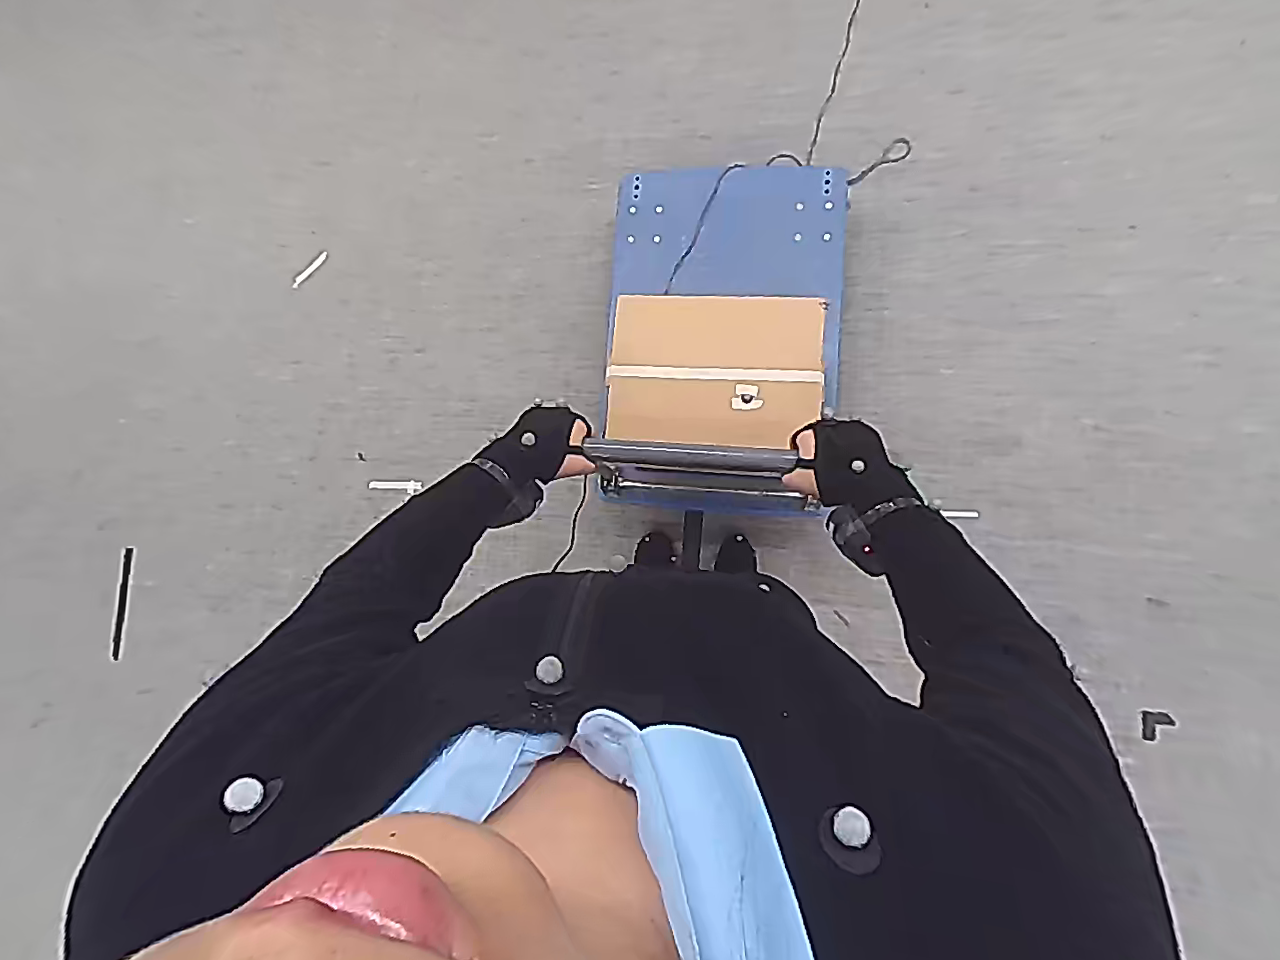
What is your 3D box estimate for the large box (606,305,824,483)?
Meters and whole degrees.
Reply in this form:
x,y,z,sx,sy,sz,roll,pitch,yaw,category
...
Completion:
x,y,z,sx,sy,sz,roll,pitch,yaw,category
0.157,-0.167,1.173,0.408,0.320,0.320,4,86,8,large box
